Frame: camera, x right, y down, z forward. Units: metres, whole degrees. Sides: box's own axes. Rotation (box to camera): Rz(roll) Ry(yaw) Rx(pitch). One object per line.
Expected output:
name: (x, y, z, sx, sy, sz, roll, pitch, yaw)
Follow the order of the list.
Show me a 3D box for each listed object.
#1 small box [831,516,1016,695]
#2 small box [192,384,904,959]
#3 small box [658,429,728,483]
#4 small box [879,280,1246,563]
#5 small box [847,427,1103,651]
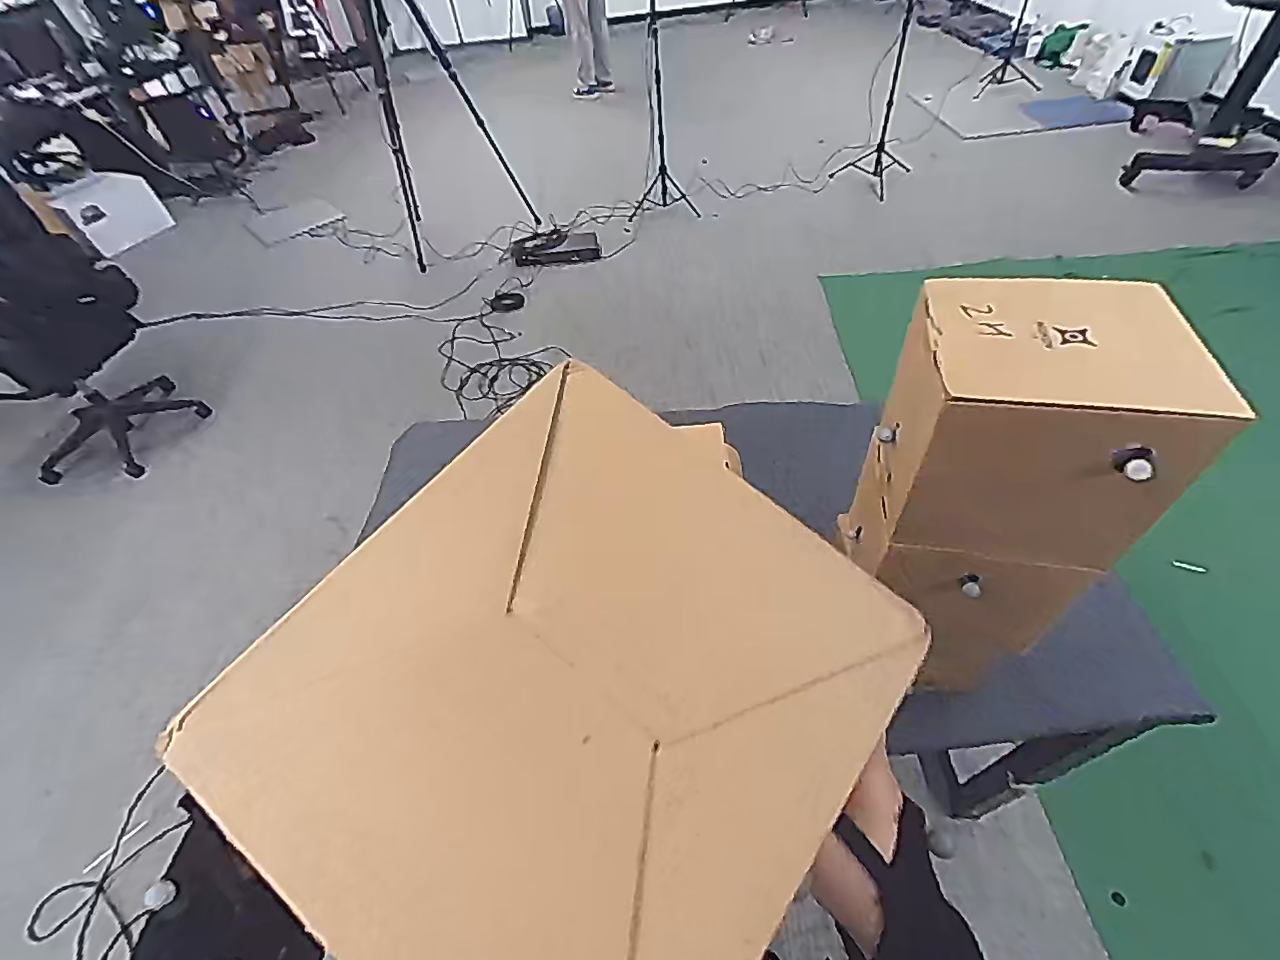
small box: (0.345, 0.162, 0.706, 0.168, 0.176, 0.179, -3, 48, 6)
small box: (-0.028, 0.093, 0.238, 0.168, 0.176, 0.179, 38, 71, 12)
small box: (0.011, 0.061, 0.617, 0.179, 0.176, 0.168, -3, 47, 5)
small box: (0.314, -0.048, 0.457, 0.179, 0.176, 0.168, 6, 48, 14)
small box: (0.328, 0.064, 0.577, 0.179, 0.176, 0.168, 5, 49, 13)
